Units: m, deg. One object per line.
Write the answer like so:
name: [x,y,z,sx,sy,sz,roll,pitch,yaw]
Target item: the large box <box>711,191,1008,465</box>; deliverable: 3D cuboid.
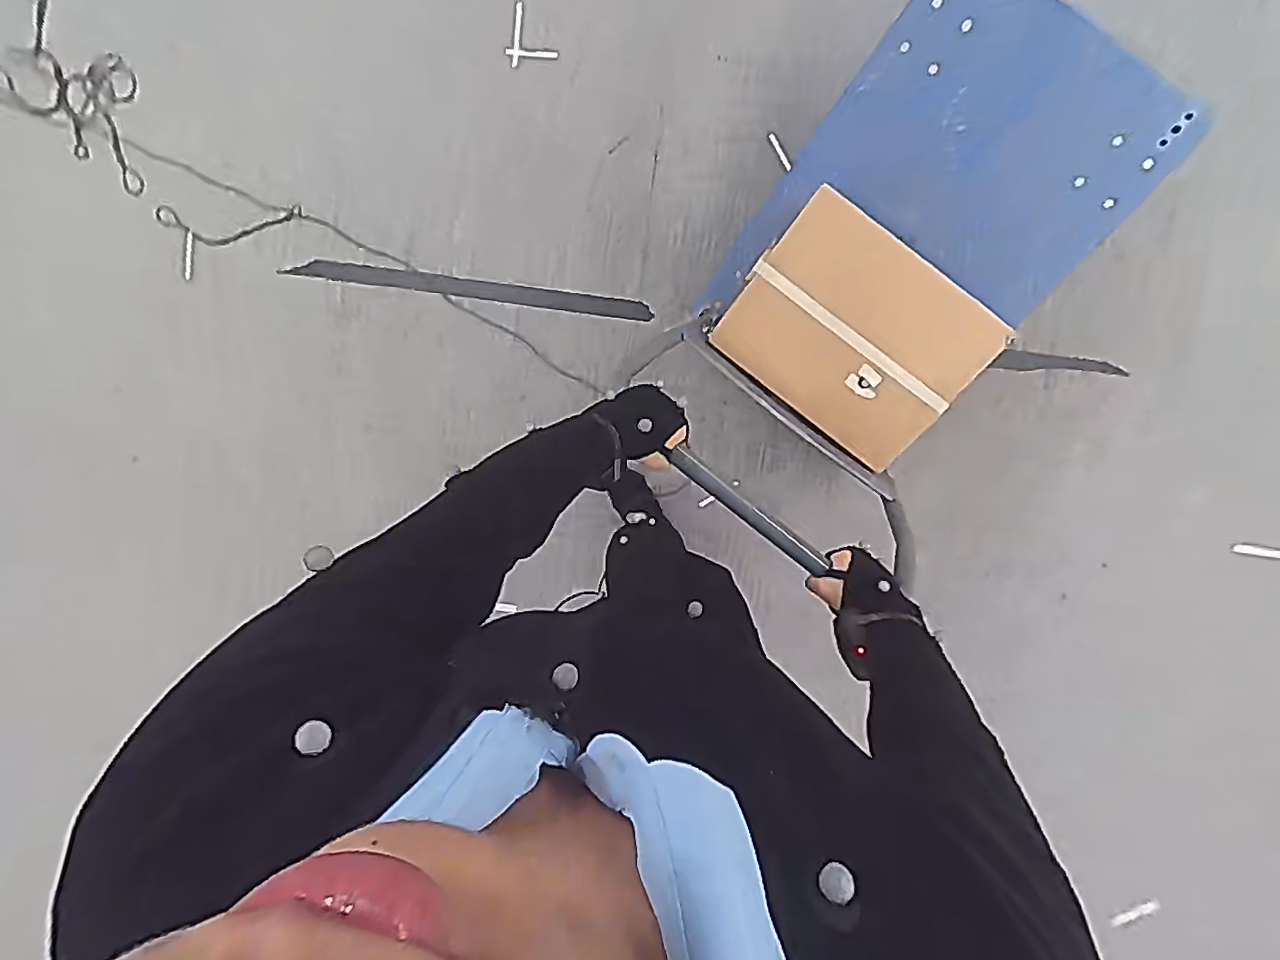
large box: [0.403,-0.299,1.091,0.408,0.320,0.320,38,113,0]
